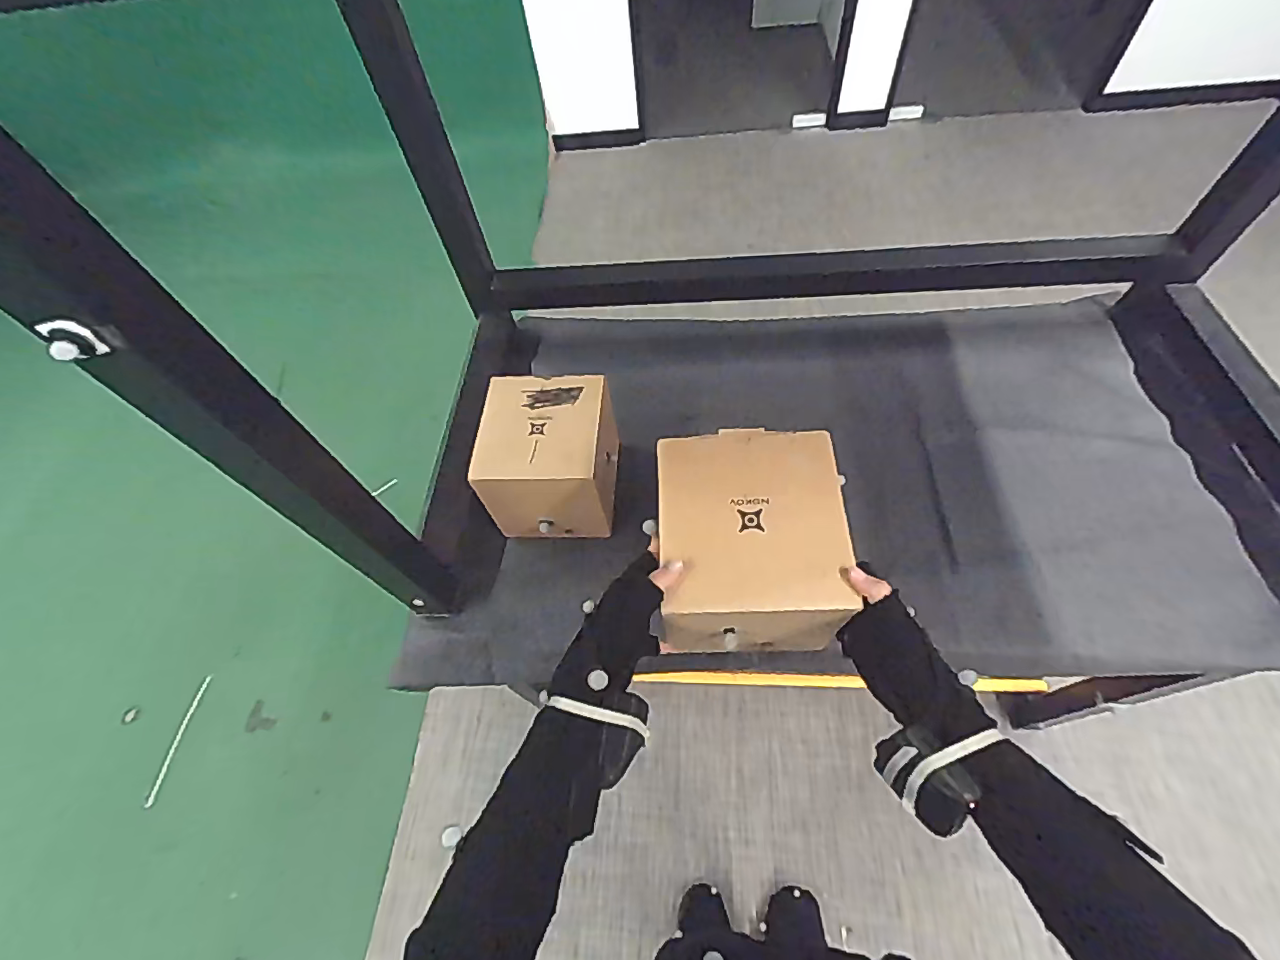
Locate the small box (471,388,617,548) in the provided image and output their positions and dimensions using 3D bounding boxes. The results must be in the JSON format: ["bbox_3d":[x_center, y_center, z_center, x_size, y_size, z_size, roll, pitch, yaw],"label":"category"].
[{"bbox_3d":[-0.127,-0.016,0.799,0.168,0.176,0.179,-1,57,6],"label":"small box"}]

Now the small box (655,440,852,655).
[{"bbox_3d":[0.104,0.079,0.560,0.168,0.176,0.179,-3,59,5],"label":"small box"}]
